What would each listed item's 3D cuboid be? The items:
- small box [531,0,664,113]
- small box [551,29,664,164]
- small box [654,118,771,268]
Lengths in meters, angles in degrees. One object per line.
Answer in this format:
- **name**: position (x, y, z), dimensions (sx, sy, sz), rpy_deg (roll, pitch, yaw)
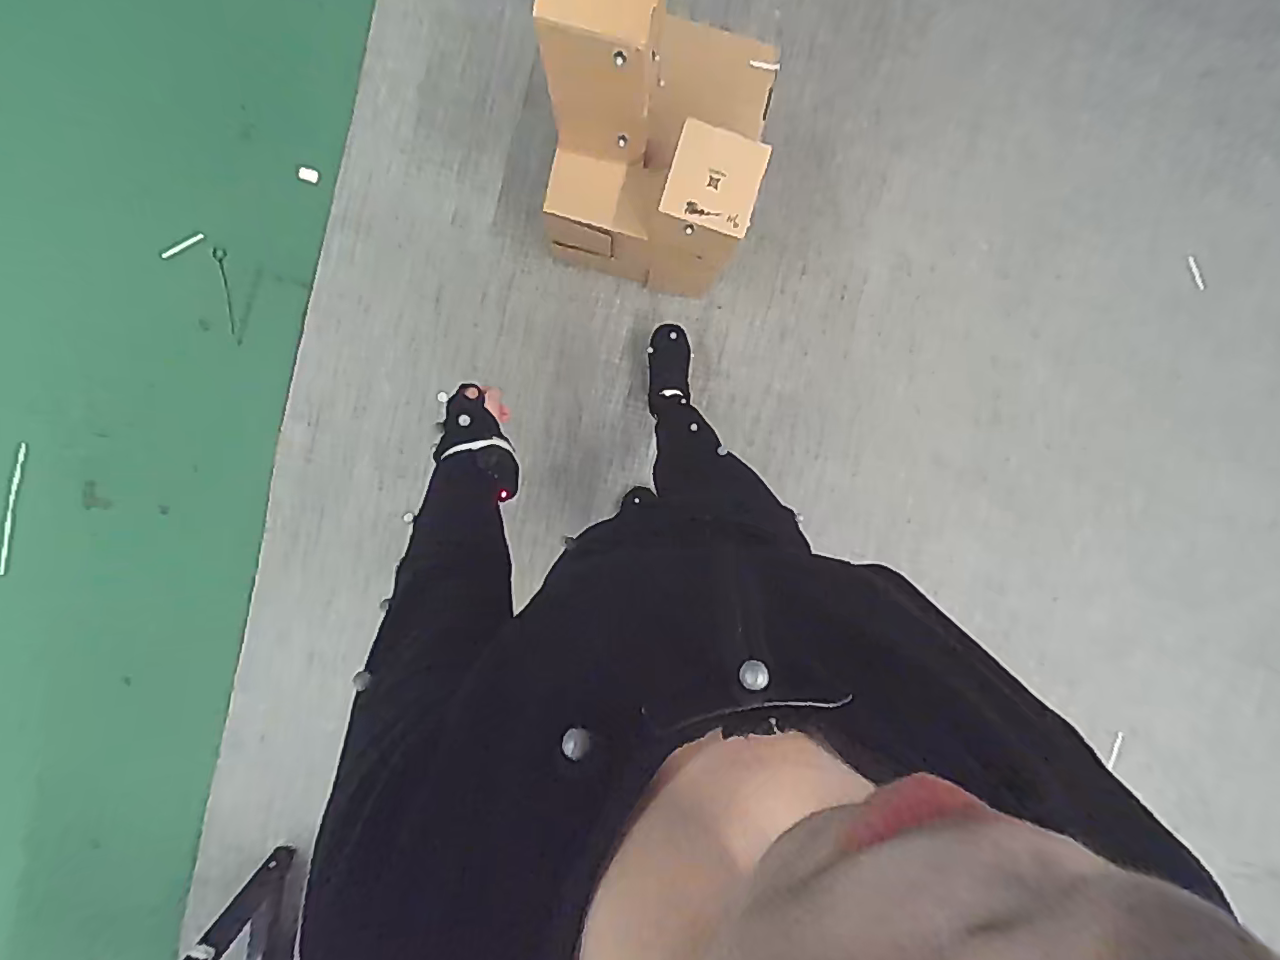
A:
- **small box**: position (-0.061, -0.739, 0.874), dimensions (0.179, 0.176, 0.168), rpy_deg (13, 91, -3)
- **small box**: position (-0.060, -0.741, 1.037), dimensions (0.179, 0.176, 0.168), rpy_deg (12, 91, -2)
- **small box**: position (0.130, -0.545, 1.051), dimensions (0.168, 0.176, 0.179), rpy_deg (18, 92, -3)
